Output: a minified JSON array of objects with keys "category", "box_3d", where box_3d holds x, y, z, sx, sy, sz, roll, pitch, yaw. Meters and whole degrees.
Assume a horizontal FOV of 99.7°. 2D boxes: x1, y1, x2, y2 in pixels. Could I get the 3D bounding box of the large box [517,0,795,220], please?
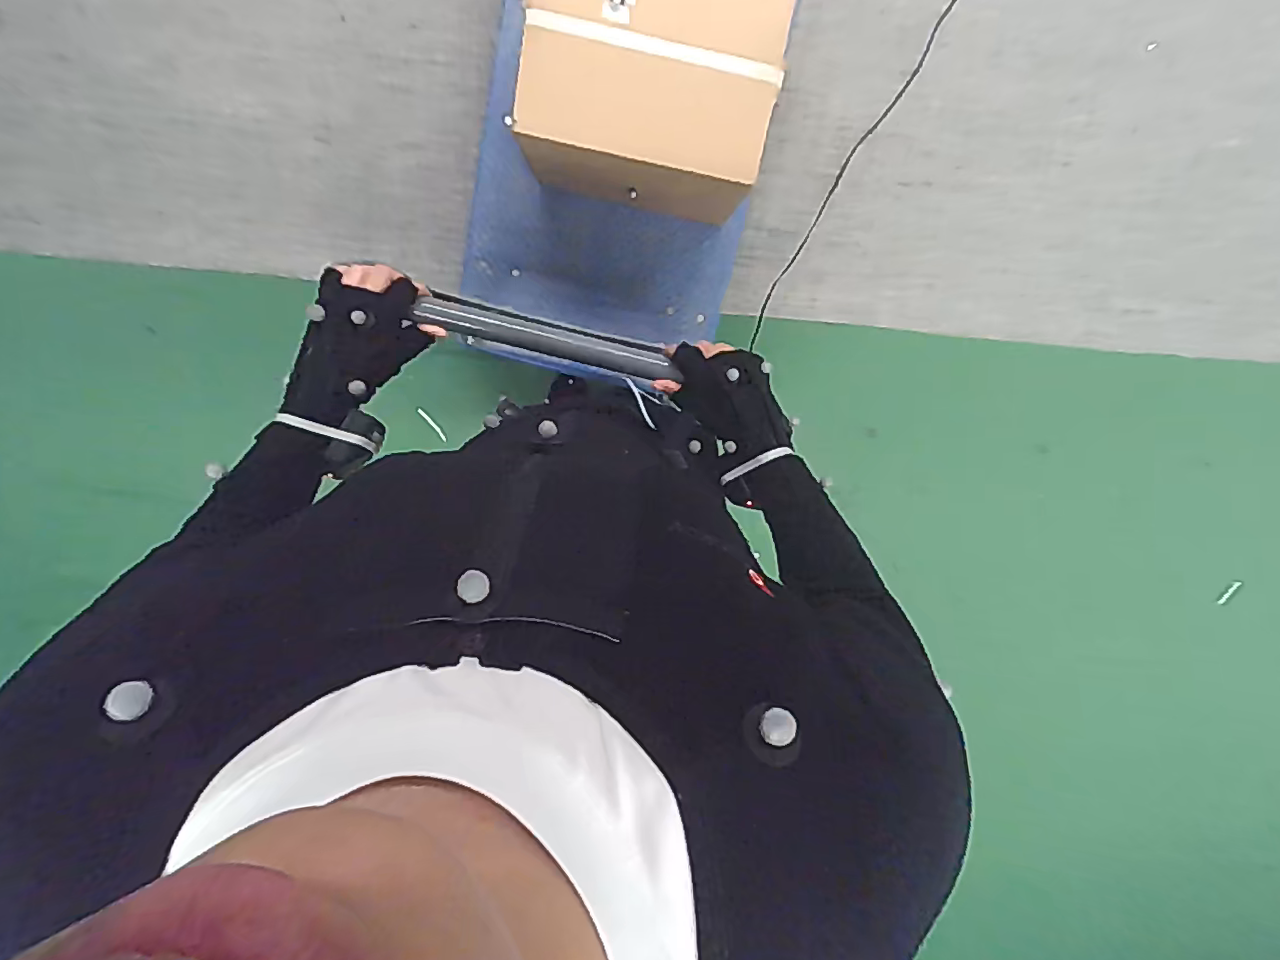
[{"category":"large box","box_3d":[0.023,-0.703,0.988,0.408,0.320,0.320,10,102,-4]}]
